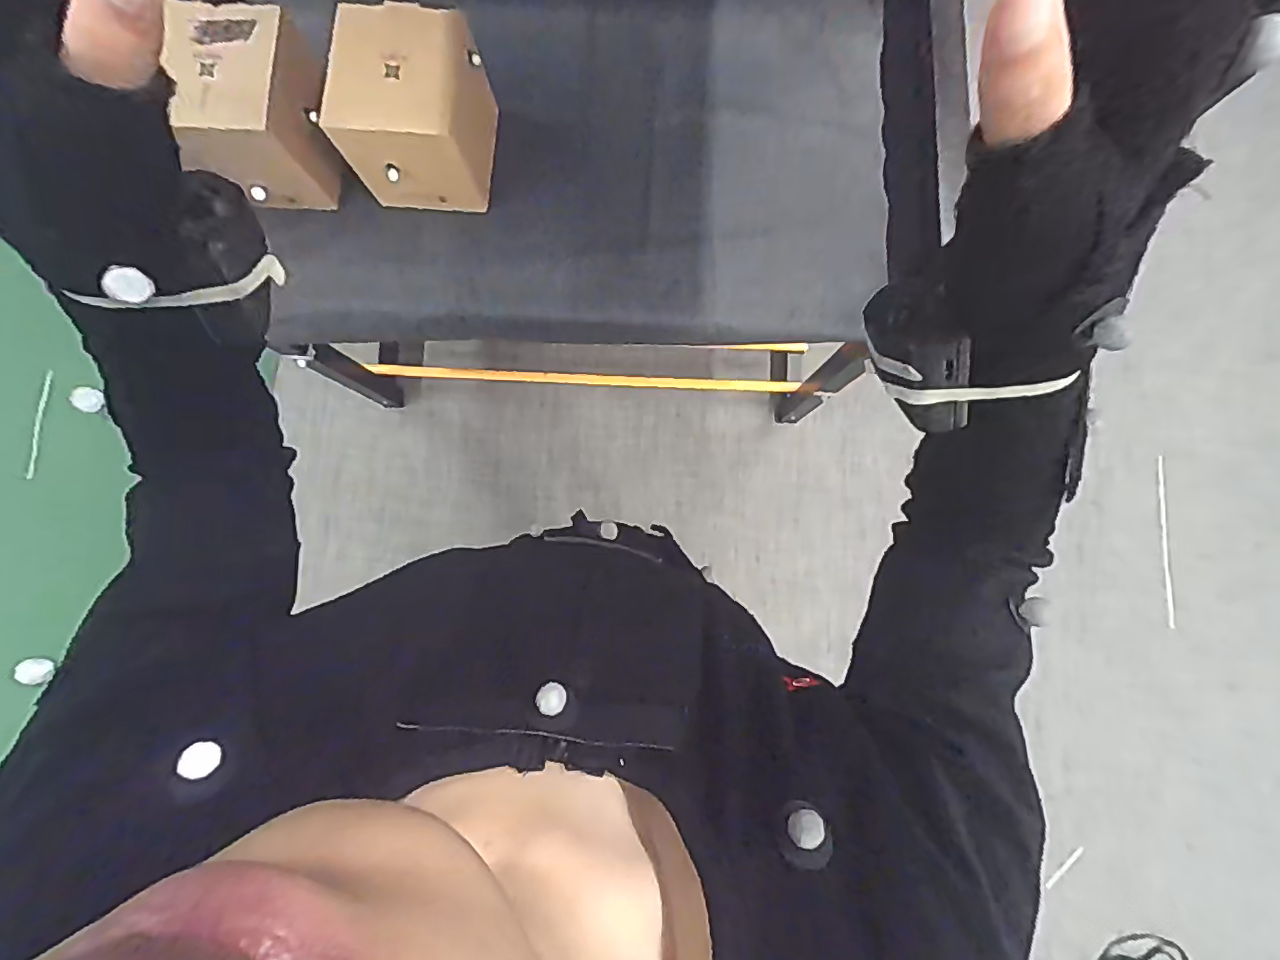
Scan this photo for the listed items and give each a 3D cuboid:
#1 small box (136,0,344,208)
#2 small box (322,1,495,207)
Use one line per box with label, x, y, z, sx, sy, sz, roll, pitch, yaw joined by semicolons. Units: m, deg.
small box;-0.539;-0.516;0.758;0.168;0.176;0.179;2;84;0
small box;-0.311;-0.514;0.762;0.168;0.176;0.179;4;83;0
